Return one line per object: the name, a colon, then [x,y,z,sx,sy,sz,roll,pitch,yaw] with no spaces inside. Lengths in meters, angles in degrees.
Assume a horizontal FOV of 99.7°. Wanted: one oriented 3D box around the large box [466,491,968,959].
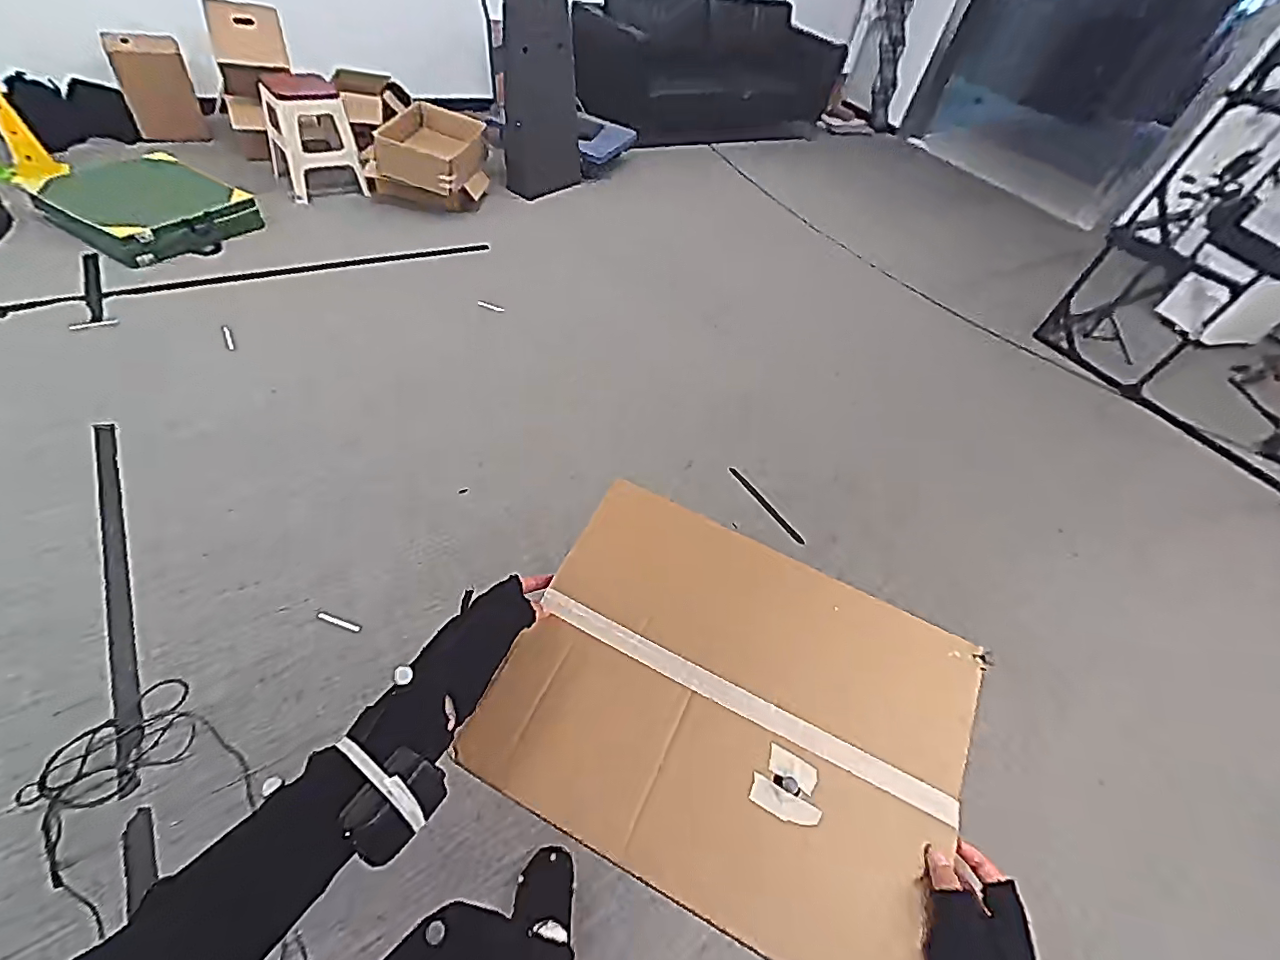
large box: [0.077,0.280,0.633,0.408,0.320,0.320,26,61,11]
